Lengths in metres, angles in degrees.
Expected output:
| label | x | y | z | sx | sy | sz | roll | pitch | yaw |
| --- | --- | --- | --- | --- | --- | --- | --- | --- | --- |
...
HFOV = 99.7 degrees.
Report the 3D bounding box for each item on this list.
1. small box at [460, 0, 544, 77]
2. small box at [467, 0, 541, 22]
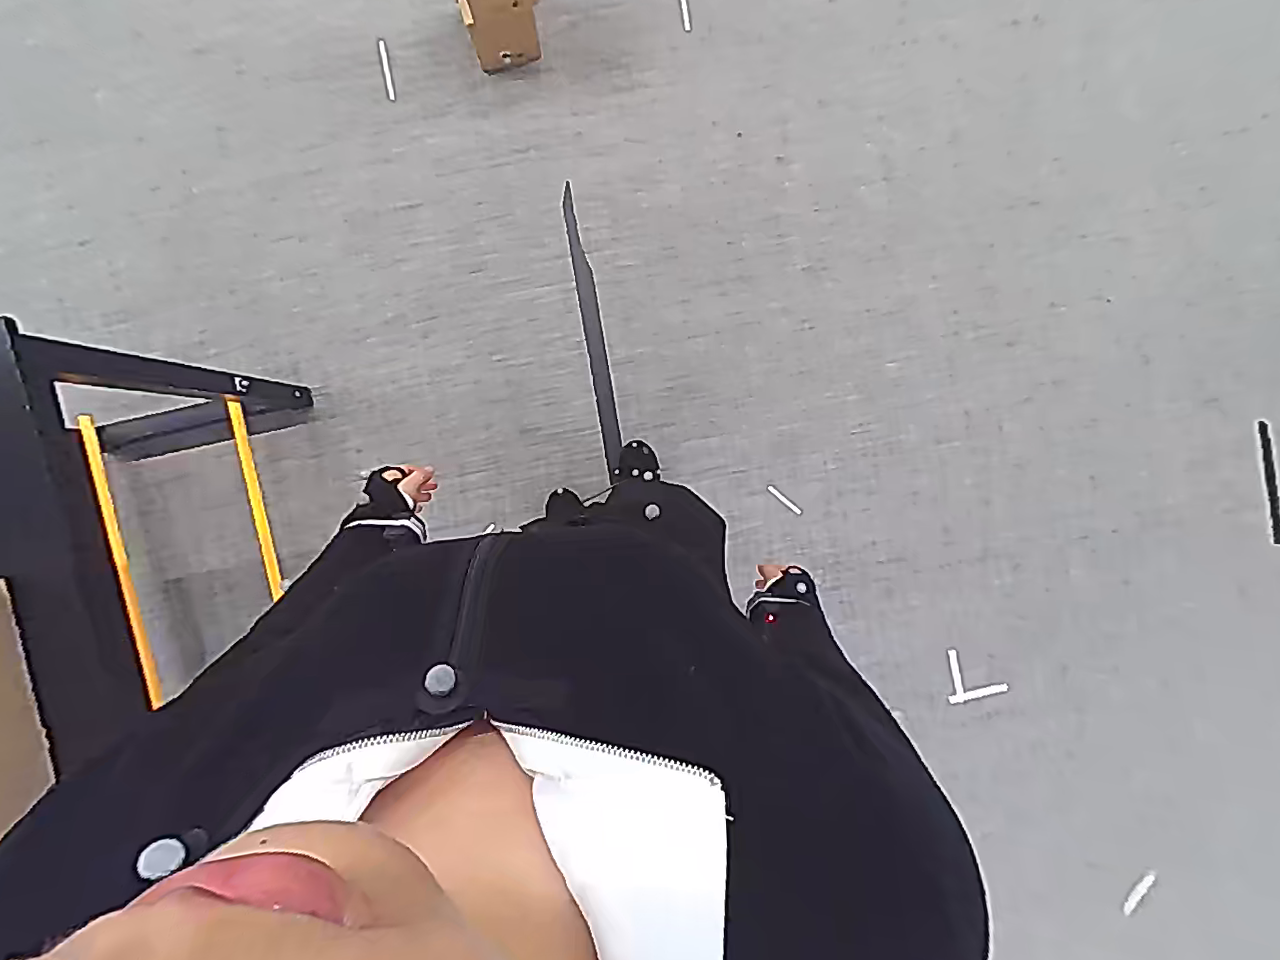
| label | x | y | z | sx | sy | sz | roll | pitch | yaw |
| --- | --- | --- | --- | --- | --- | --- | --- | --- | --- |
| small box | -0.350 | -1.161 | 1.343 | 0.168 | 0.176 | 0.179 | -17 | 95 | 0 |
| small box | -0.328 | -1.156 | 1.180 | 0.168 | 0.176 | 0.179 | -18 | 94 | 0 |
